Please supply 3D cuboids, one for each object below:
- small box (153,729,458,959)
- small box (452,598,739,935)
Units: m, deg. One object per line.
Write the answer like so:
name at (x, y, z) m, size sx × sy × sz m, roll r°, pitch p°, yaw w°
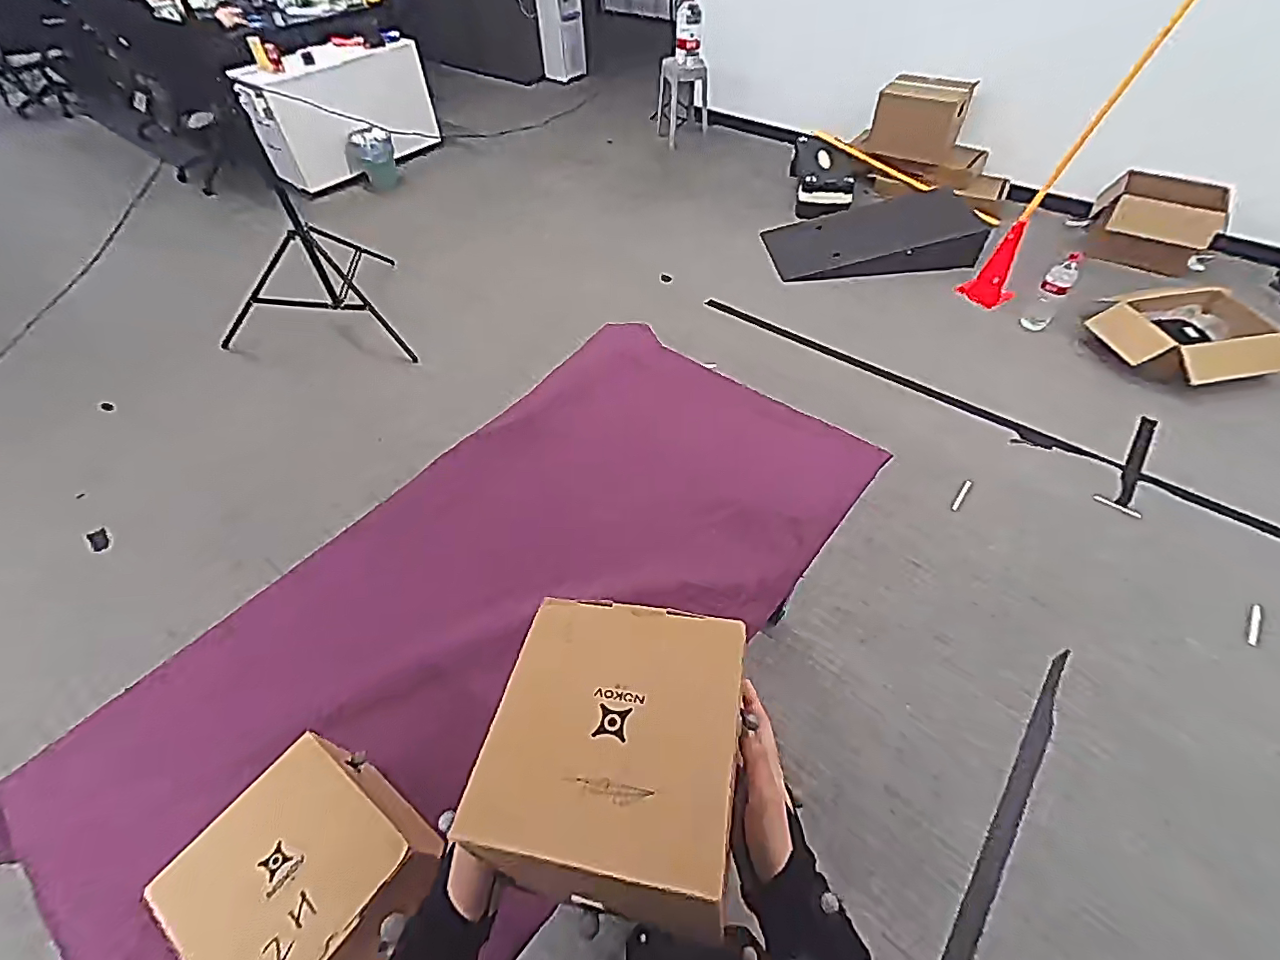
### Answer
small box at (-0.321, 0.399, 0.553) m, size 0.179 × 0.176 × 0.168 m, roll 29°, pitch 58°, yaw 23°
small box at (-0.013, 0.220, 0.426) m, size 0.168 × 0.176 × 0.179 m, roll 3°, pitch 45°, yaw 13°
